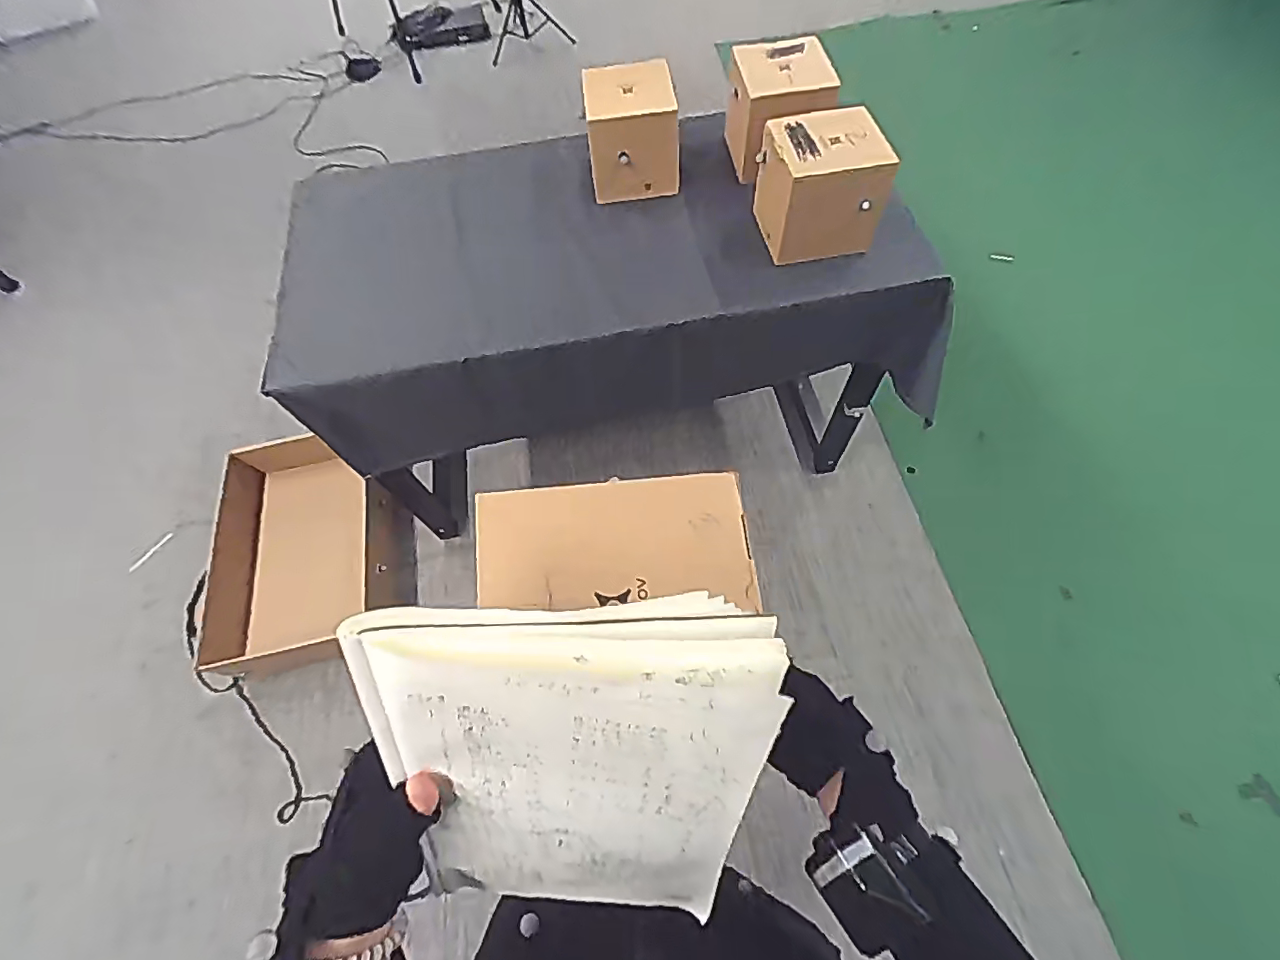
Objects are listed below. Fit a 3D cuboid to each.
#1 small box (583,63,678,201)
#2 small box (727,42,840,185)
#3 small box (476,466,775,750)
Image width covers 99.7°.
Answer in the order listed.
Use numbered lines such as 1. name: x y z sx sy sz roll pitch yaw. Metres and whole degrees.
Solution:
1. small box: -0.016 -0.676 1.067 0.168 0.176 0.179 -7 62 0
2. small box: 0.271 -0.719 1.068 0.168 0.176 0.179 -8 63 0
3. small box: -0.016 0.096 0.410 0.179 0.176 0.168 -4 71 -4
